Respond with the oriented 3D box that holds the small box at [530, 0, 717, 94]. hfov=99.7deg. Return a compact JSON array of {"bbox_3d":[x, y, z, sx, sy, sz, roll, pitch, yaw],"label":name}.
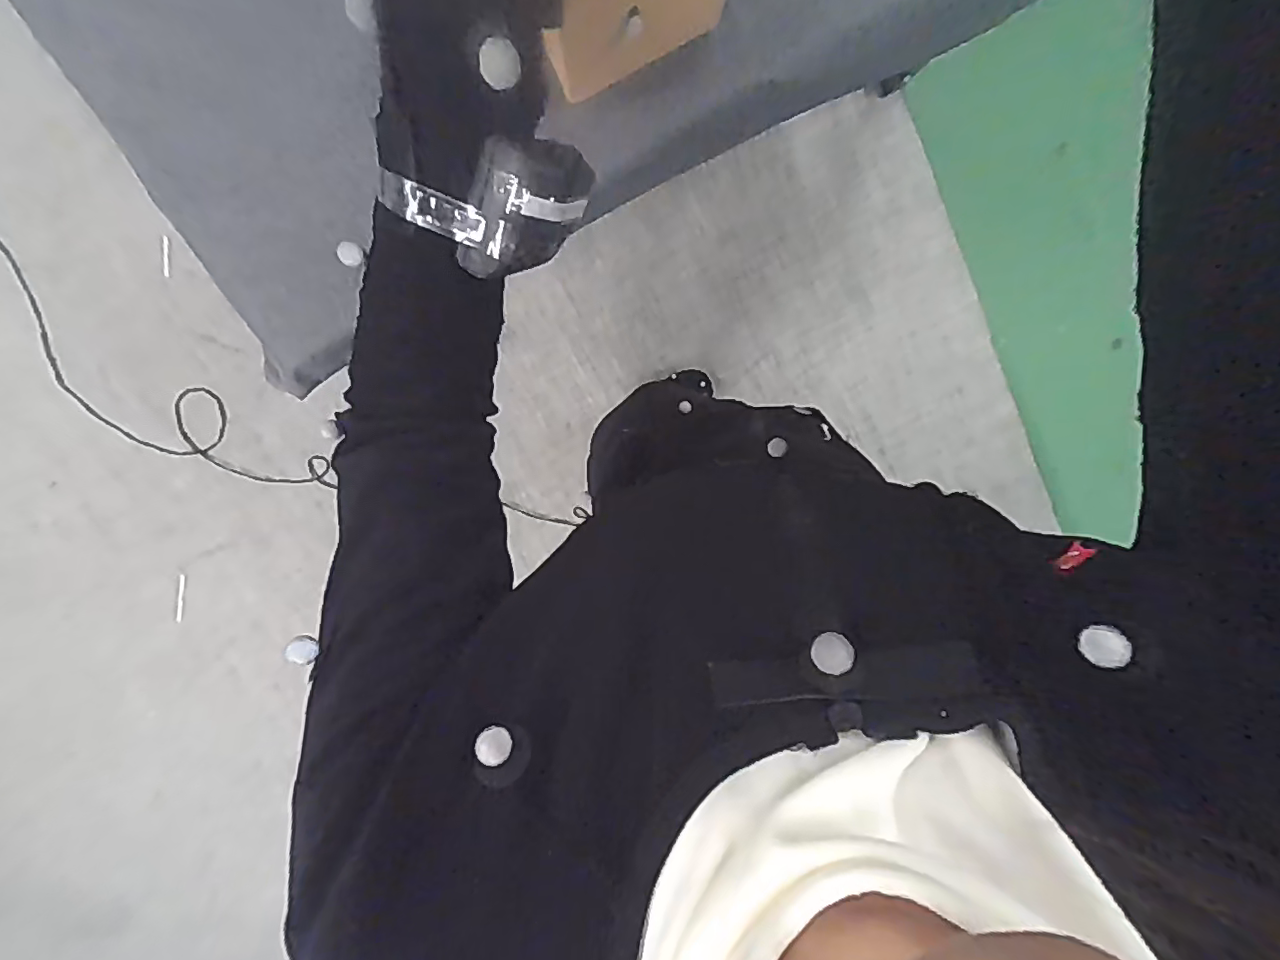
[{"bbox_3d":[-0.029,-0.492,0.477,0.179,0.176,0.168,-25,103,6],"label":"small box"}]
